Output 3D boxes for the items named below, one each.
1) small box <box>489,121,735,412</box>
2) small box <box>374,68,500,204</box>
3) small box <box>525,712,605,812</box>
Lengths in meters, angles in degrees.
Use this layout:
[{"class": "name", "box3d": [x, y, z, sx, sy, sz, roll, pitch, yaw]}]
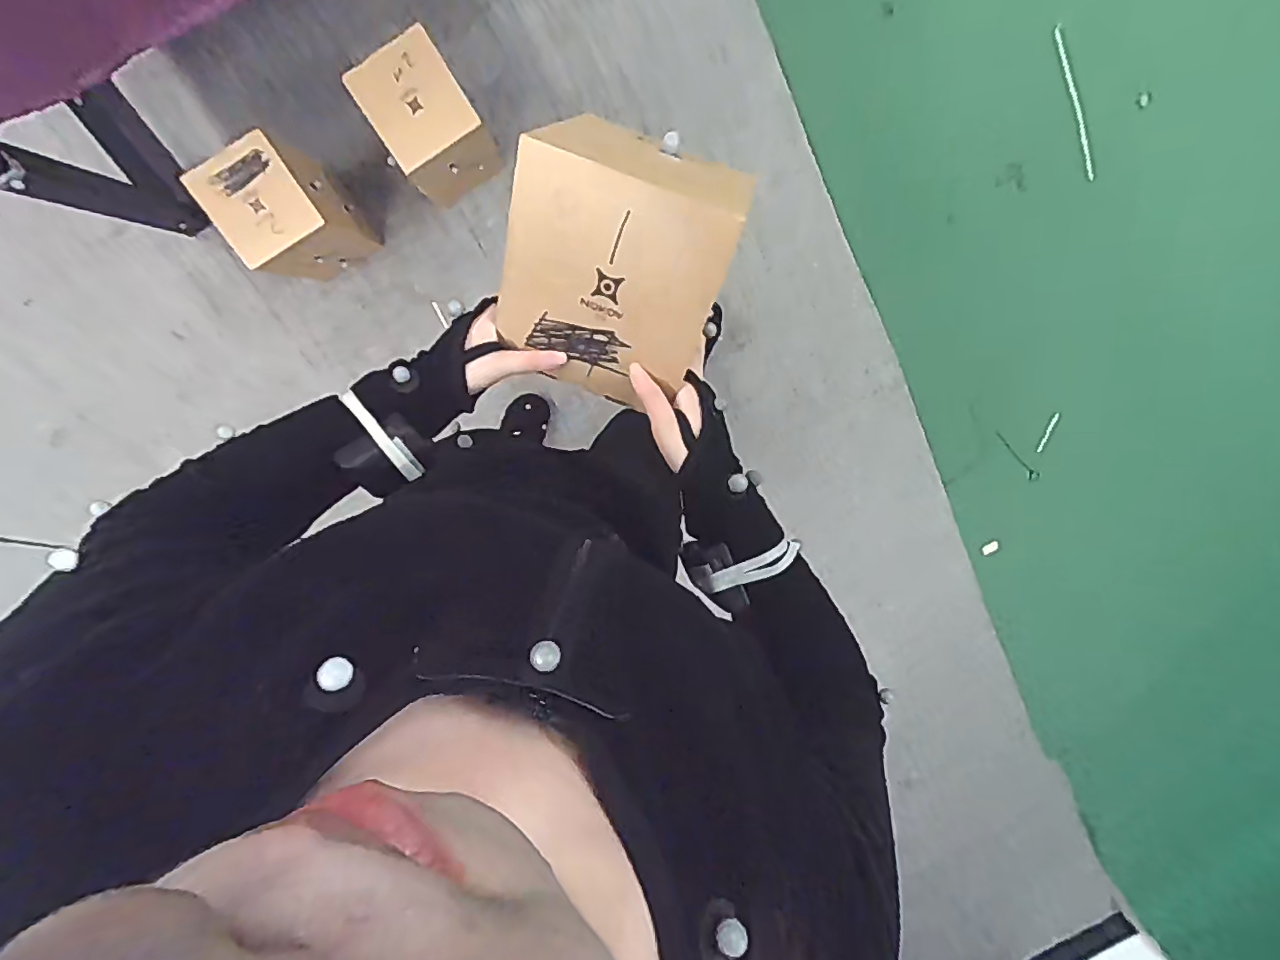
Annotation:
[{"class": "small box", "box3d": [-0.019, -0.198, 0.493, 0.168, 0.176, 0.179, 20, 128, -3]}, {"class": "small box", "box3d": [-0.426, -0.730, 1.172, 0.179, 0.176, 0.168, -30, 107, 2]}, {"class": "small box", "box3d": [-0.223, 0.839, 1.626, 0.179, 0.176, 0.168, -31, 106, 4]}]
